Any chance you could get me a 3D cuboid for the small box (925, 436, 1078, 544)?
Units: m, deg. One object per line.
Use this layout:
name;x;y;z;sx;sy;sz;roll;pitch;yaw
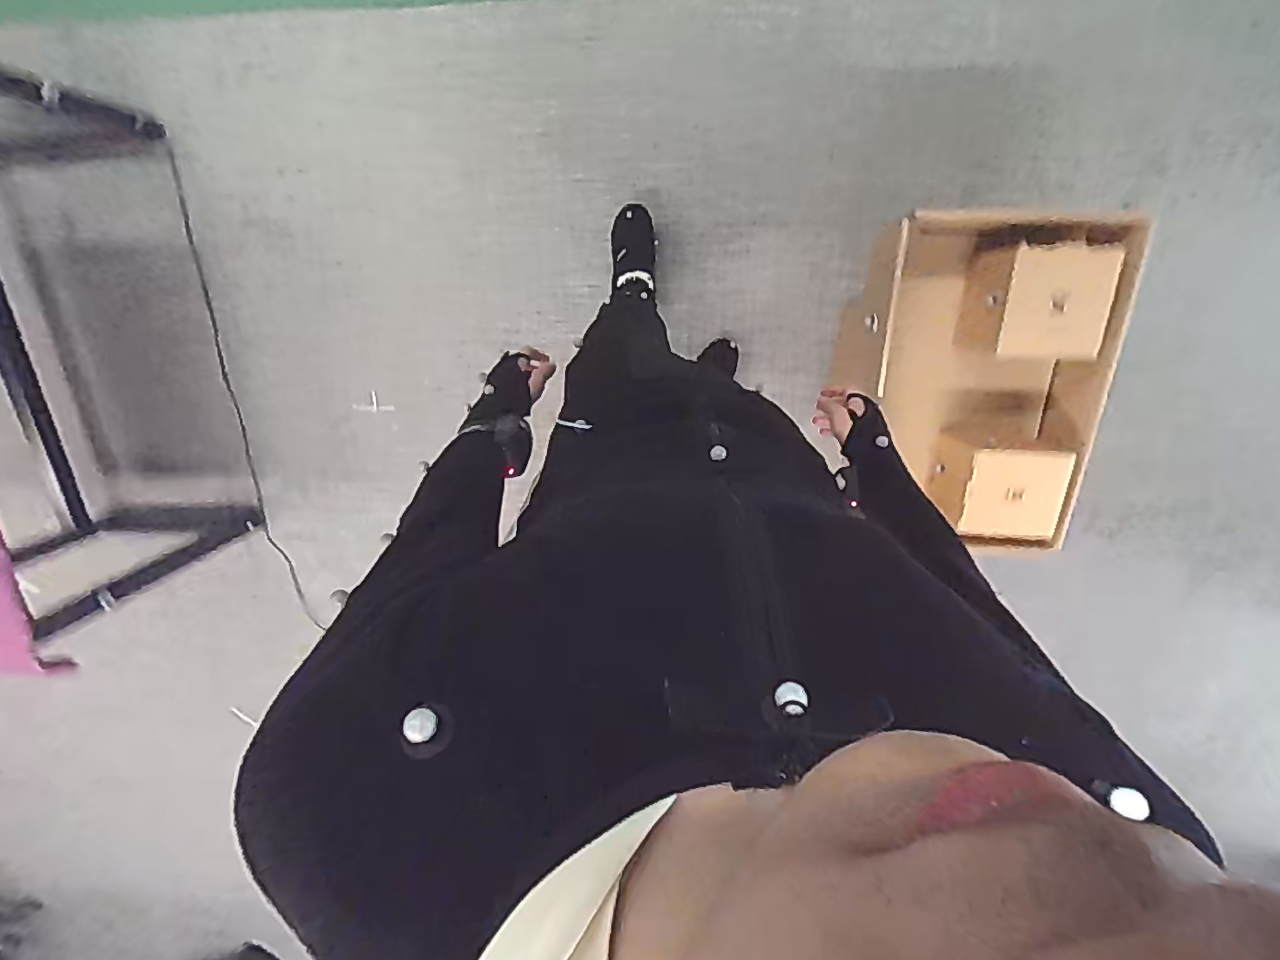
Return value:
small box;0.703;0.013;1.075;0.179;0.176;0.168;5;109;5
